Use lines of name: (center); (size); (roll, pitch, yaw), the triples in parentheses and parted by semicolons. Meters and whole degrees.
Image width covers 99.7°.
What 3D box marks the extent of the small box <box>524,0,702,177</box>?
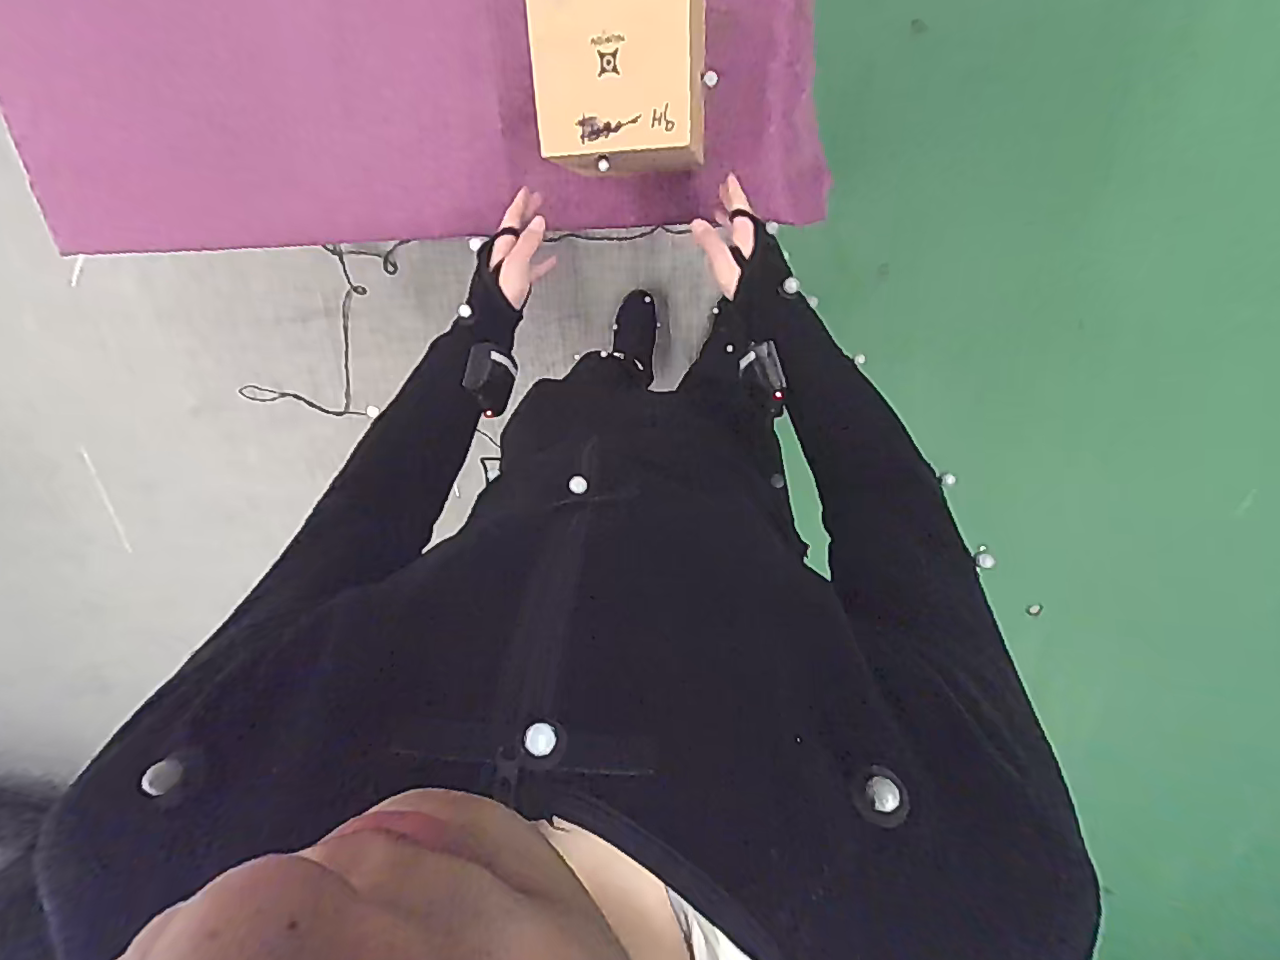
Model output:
small box: (-0.020, -0.463, 0.623); (0.168, 0.176, 0.179); (3, 113, 12)
